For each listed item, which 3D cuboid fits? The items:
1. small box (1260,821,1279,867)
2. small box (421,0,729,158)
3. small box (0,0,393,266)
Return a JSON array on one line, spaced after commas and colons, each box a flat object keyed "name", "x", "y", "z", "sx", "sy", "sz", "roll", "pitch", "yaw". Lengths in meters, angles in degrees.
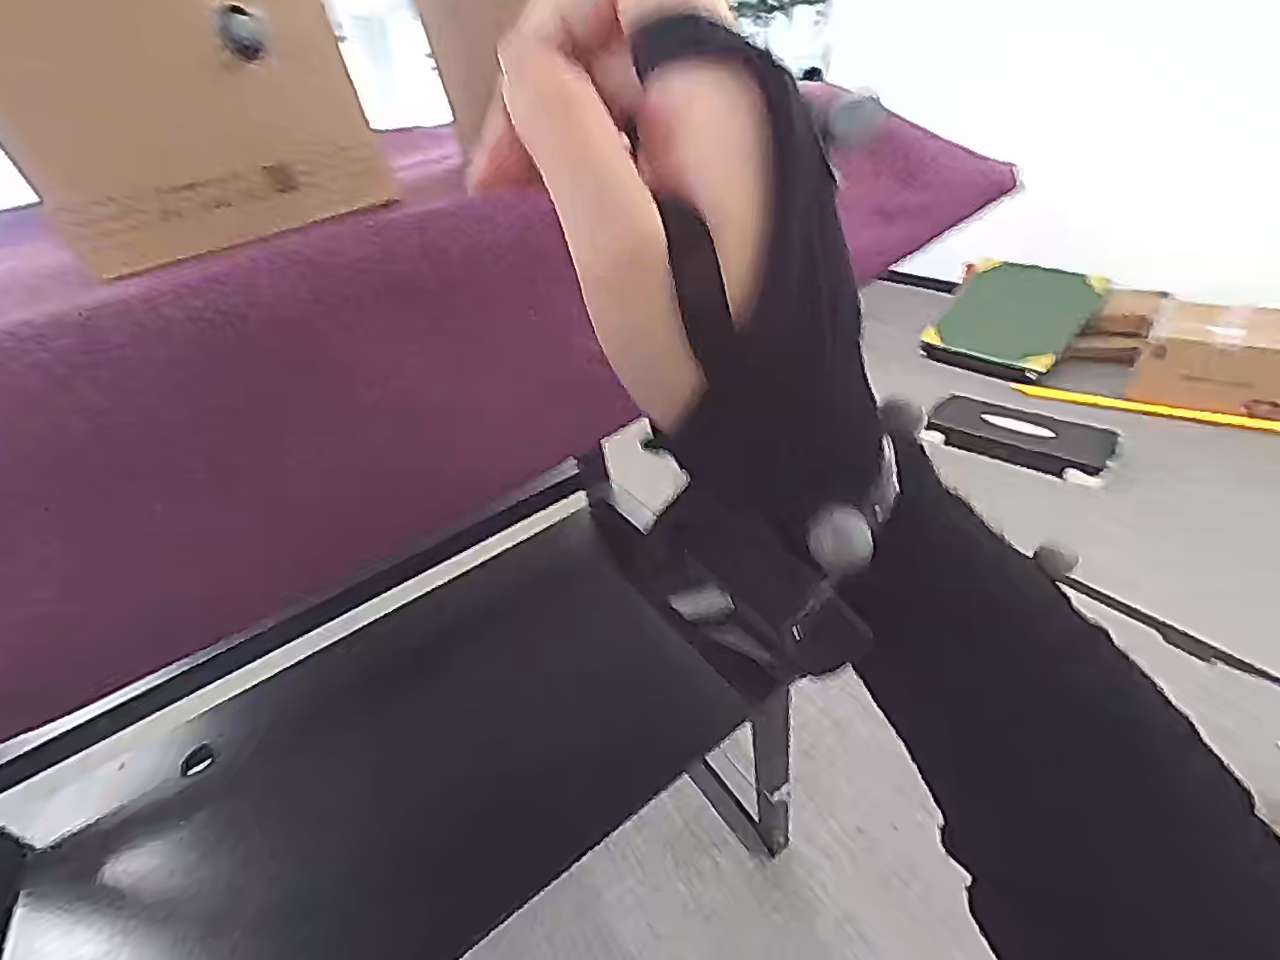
[{"name": "small box", "x": 1.404, "y": 0.732, "z": 1.055, "sx": 0.168, "sy": 0.176, "sz": 0.179, "roll": -25, "pitch": 41, "yaw": -18}, {"name": "small box", "x": -0.053, "y": -0.353, "z": 0.403, "sx": 0.168, "sy": 0.176, "sz": 0.179, "roll": -35, "pitch": 42, "yaw": -27}, {"name": "small box", "x": -0.275, "y": -0.238, "z": 0.316, "sx": 0.168, "sy": 0.176, "sz": 0.179, "roll": -31, "pitch": 41, "yaw": -25}]
